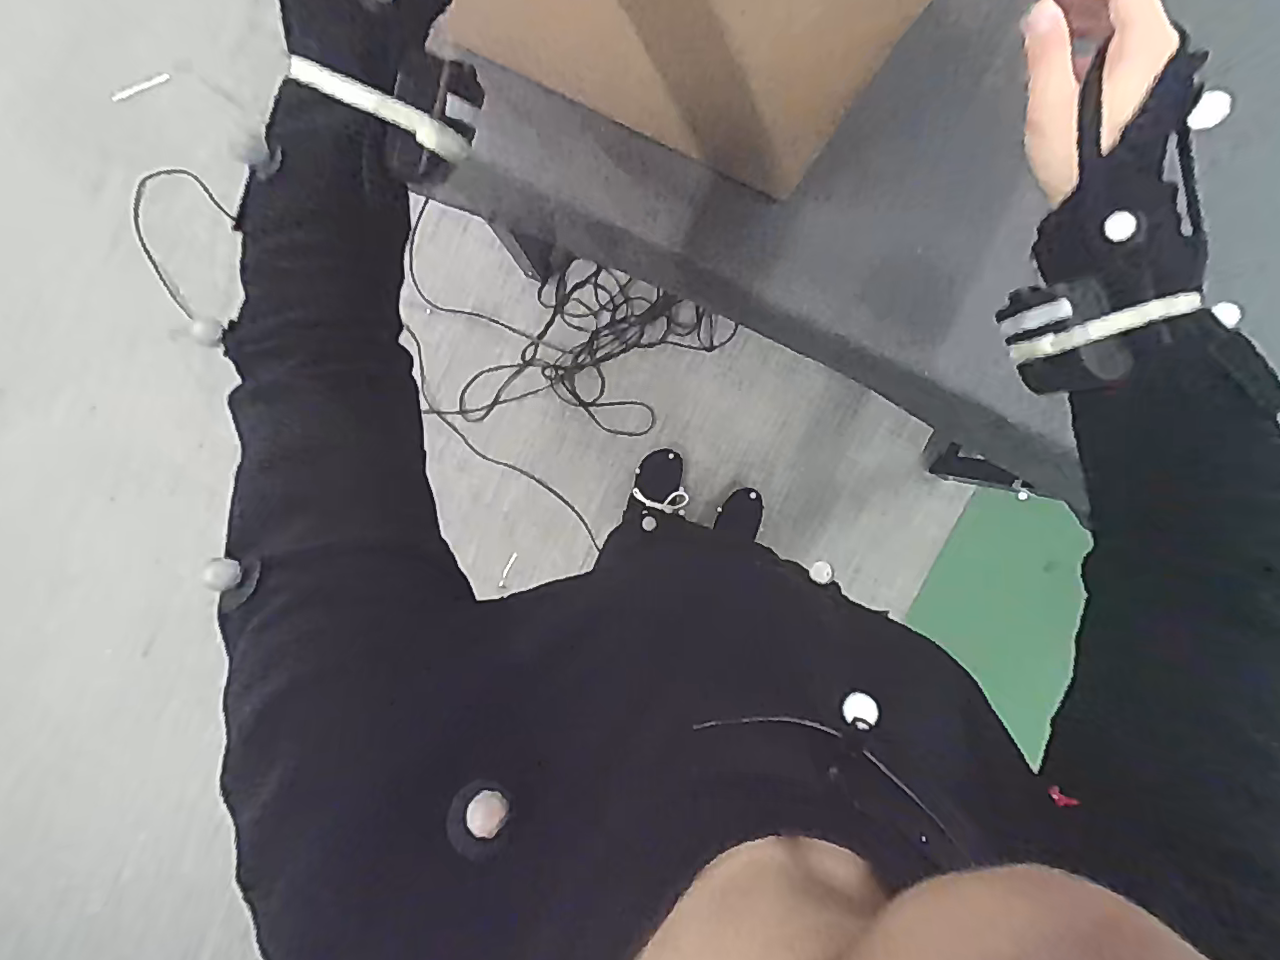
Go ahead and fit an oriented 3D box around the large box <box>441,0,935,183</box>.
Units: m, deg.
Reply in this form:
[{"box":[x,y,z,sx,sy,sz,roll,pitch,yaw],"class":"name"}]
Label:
[{"box":[0.049,-0.519,0.420,0.408,0.320,0.320,23,96,-5],"class":"large box"}]
